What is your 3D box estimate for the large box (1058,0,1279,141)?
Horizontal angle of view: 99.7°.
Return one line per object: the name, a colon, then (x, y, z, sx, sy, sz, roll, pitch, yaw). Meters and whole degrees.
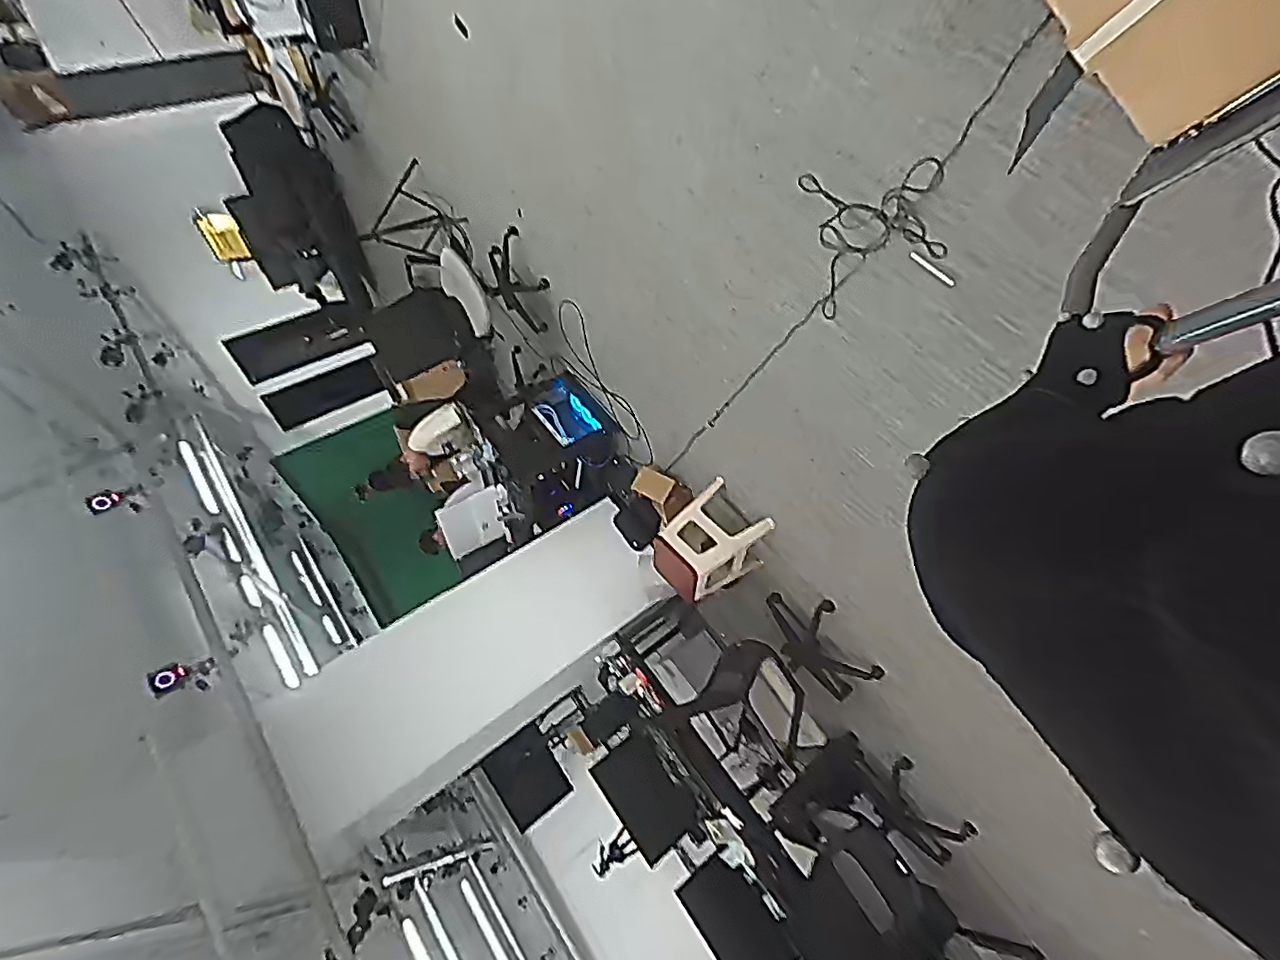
large box: (0.741, -0.676, 0.562, 0.320, 0.320, 0.408, 50, 155, -3)
